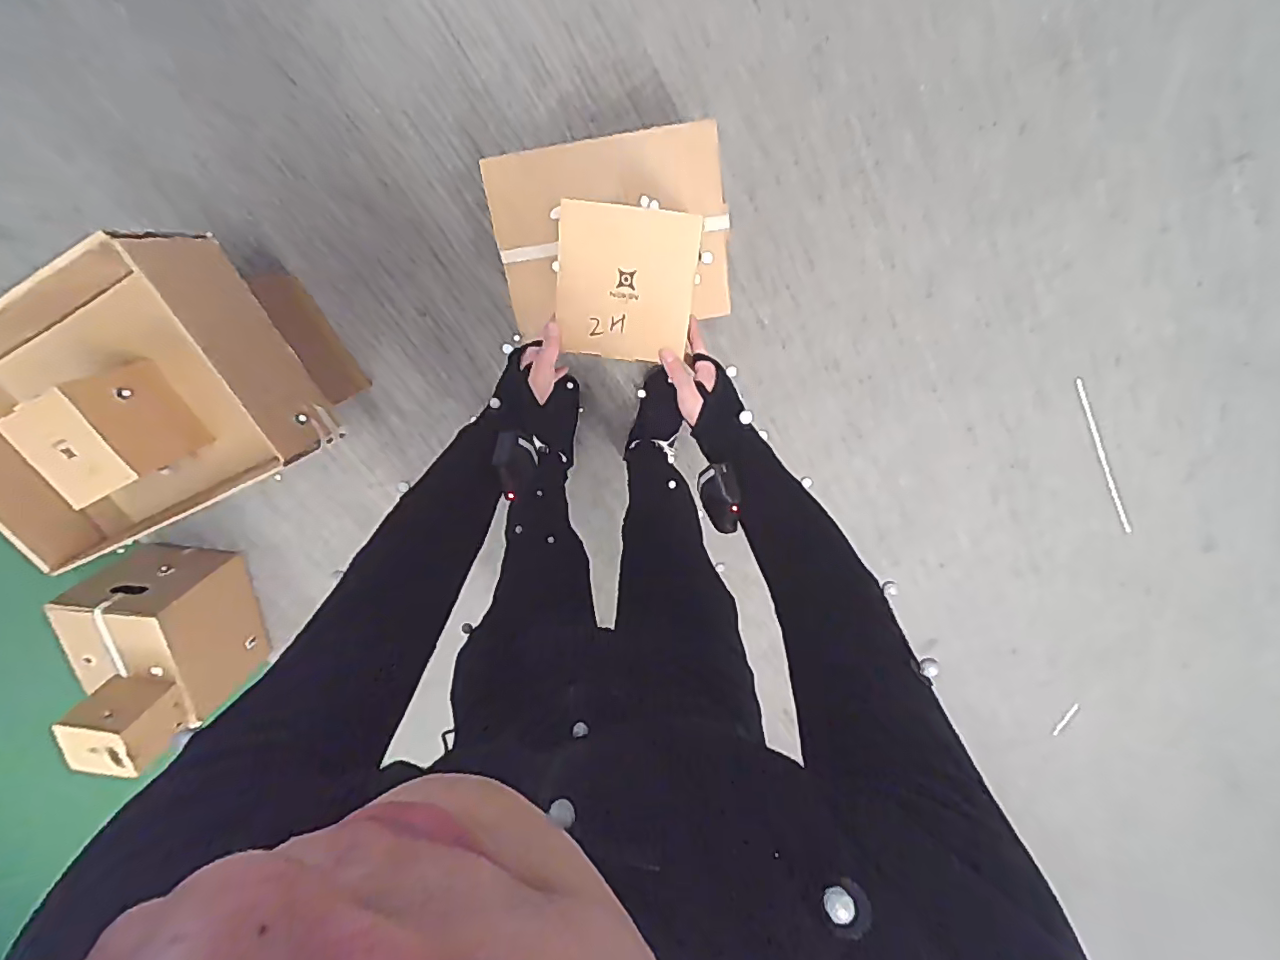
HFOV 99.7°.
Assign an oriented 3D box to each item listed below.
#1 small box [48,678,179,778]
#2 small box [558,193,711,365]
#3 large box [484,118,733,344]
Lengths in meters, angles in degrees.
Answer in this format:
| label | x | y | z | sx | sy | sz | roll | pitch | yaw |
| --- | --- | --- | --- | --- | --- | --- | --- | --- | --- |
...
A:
| label | x | y | z | sx | sy | sz | roll | pitch | yaw |
| --- | --- | --- | --- | --- | --- | --- | --- | --- | --- |
| small box | -1.374 | 0.651 | 1.432 | 0.179 | 0.176 | 0.168 | 8 | 114 | 0 |
| small box | -0.005 | -0.263 | 0.708 | 0.168 | 0.176 | 0.179 | 8 | 115 | 2 |
| large box | -0.036 | -0.484 | 1.083 | 0.408 | 0.320 | 0.320 | -6 | 114 | 8 |
